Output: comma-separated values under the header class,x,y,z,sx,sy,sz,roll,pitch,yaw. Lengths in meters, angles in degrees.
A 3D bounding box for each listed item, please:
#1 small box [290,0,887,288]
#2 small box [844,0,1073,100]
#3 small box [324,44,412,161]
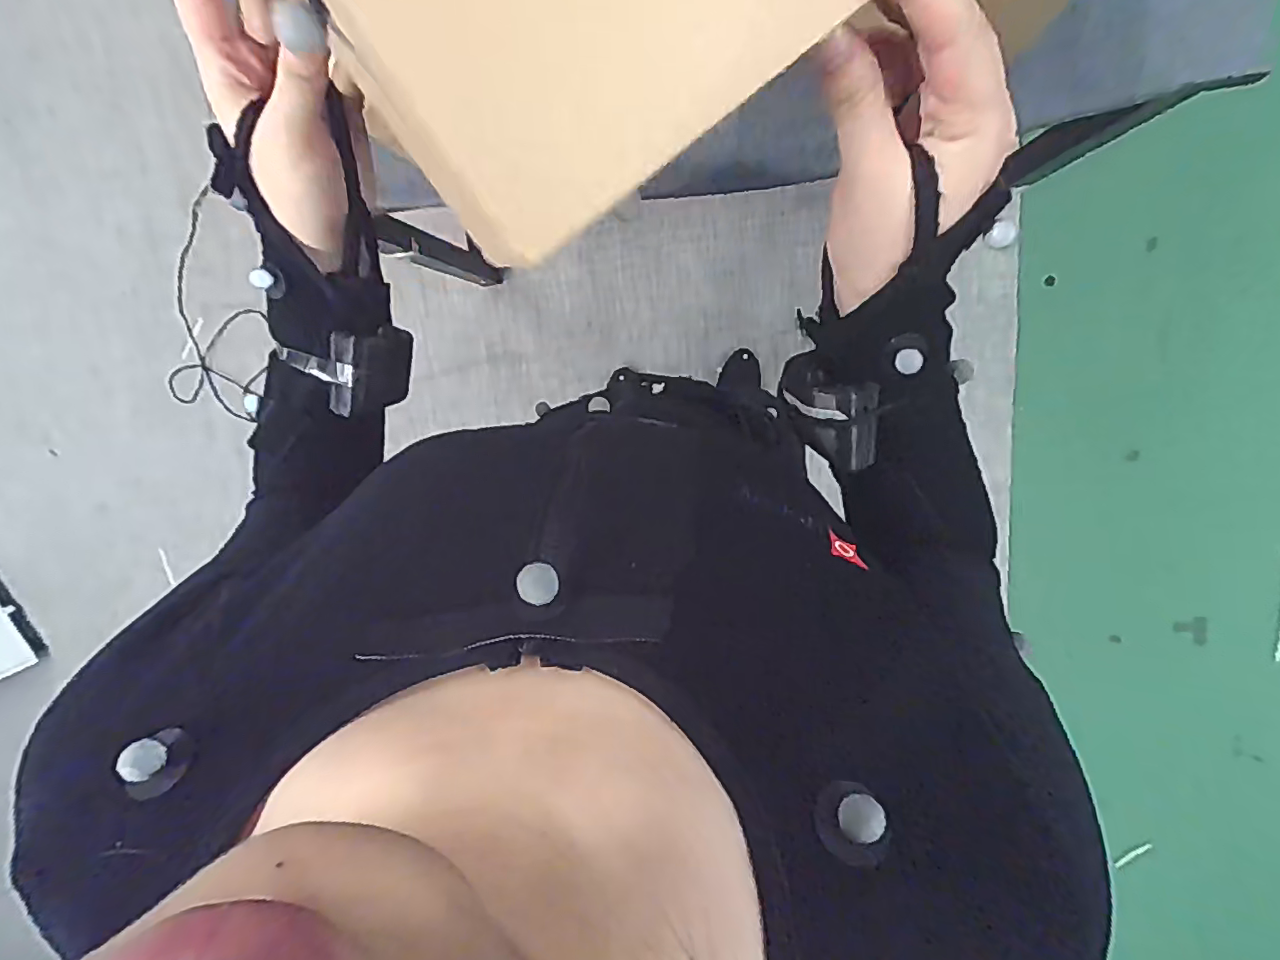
class,x,y,z,sx,sy,sz,roll,pitch,yaw
small box,-0.045,-0.207,0.217,0.168,0.176,0.179,-40,119,2
small box,0.299,-0.509,0.518,0.168,0.176,0.179,-3,101,8
small box,-0.215,-0.464,0.589,0.179,0.176,0.168,-1,102,7
